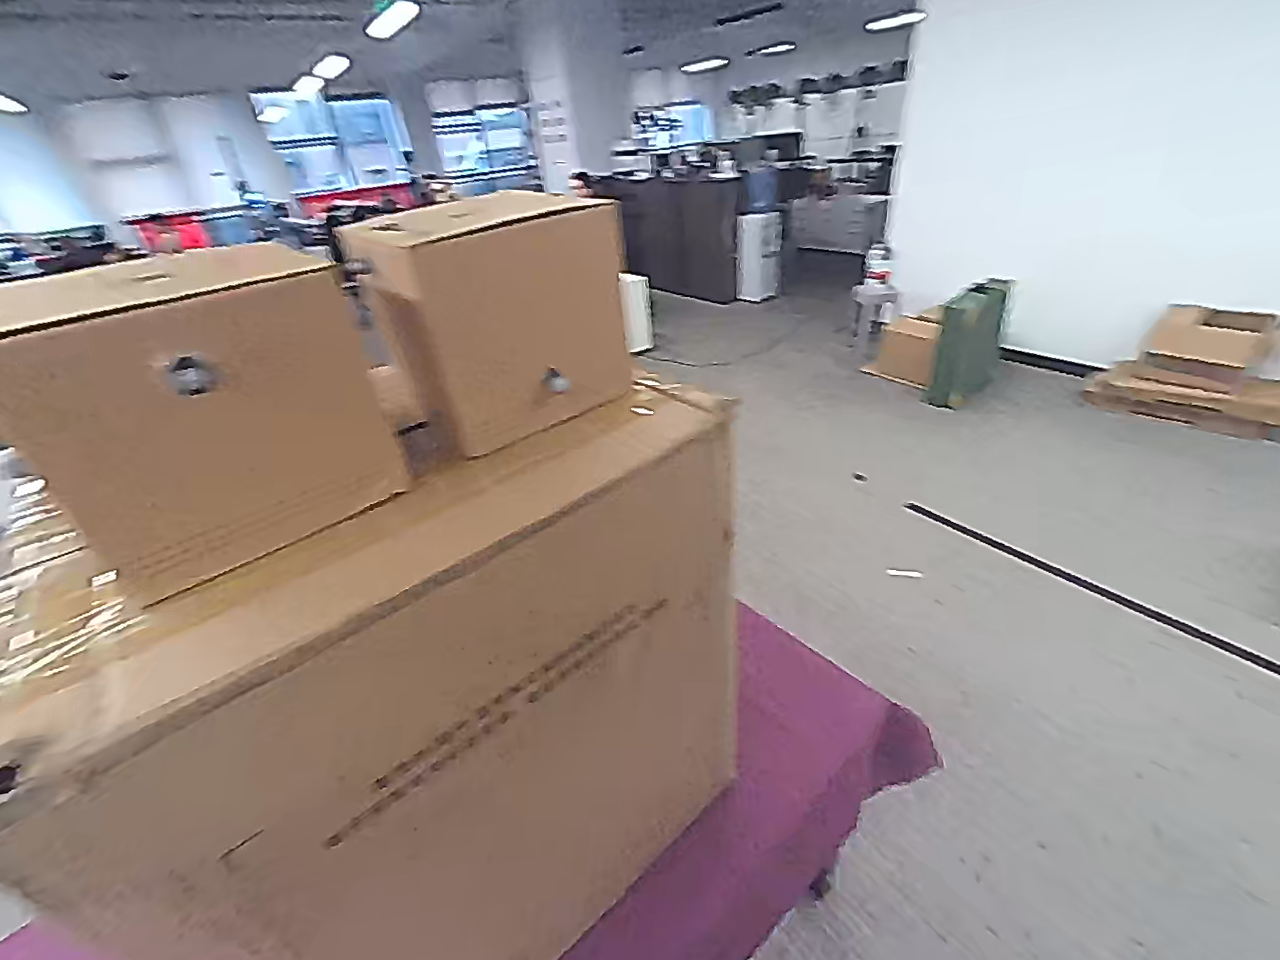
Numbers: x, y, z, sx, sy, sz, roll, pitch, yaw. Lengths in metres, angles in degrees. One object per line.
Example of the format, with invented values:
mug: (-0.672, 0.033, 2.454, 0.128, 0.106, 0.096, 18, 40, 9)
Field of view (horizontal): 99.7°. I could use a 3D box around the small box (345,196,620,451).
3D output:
small box: (-0.131, -0.151, 0.495, 0.179, 0.176, 0.168, -28, 39, -29)
